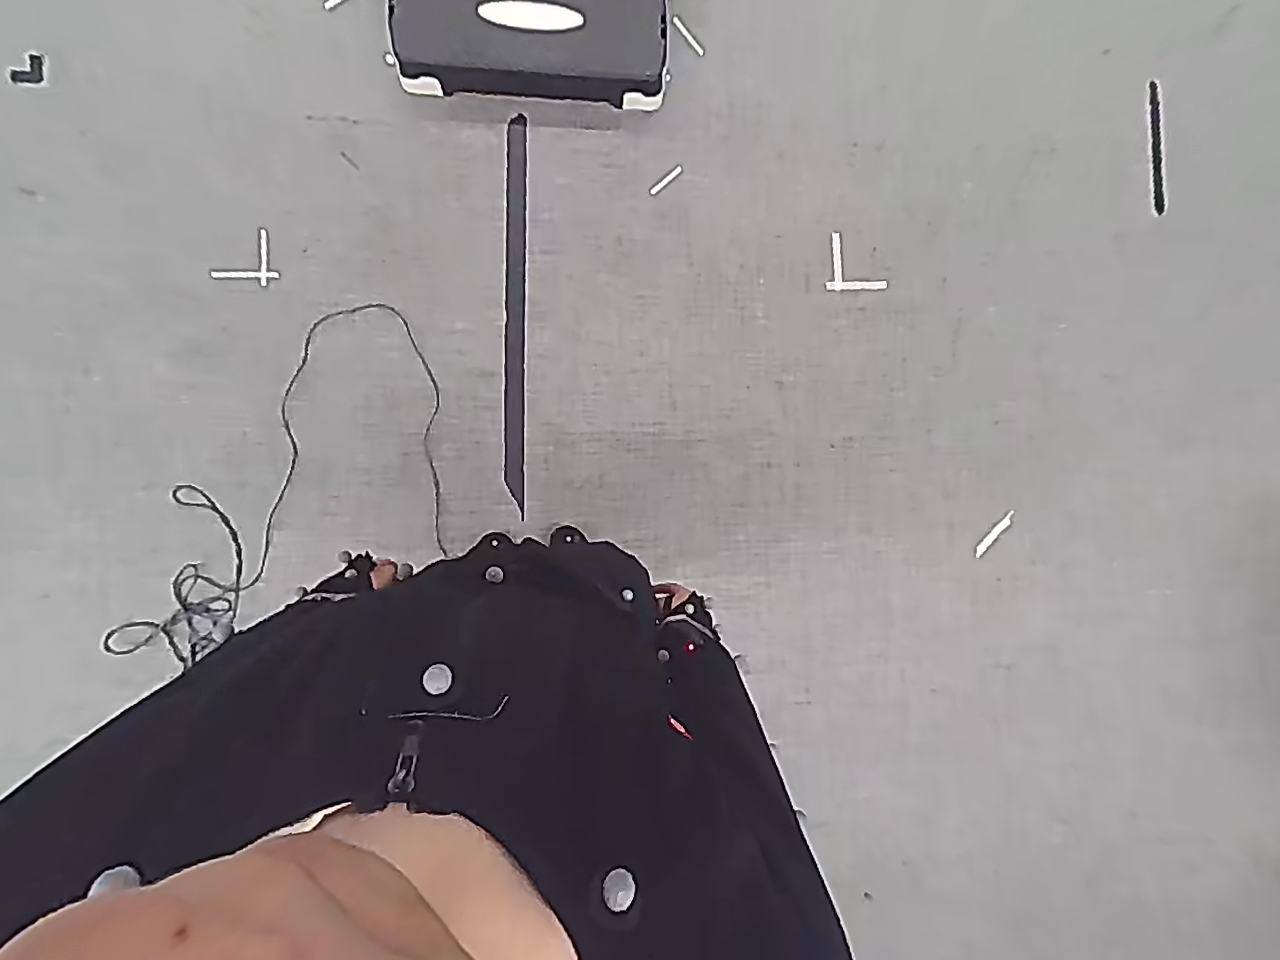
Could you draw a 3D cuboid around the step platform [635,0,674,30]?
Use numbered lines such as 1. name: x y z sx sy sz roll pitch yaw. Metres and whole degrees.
1. step platform: -0.231 -1.372 1.340 0.684 0.204 0.286 4 87 -6
